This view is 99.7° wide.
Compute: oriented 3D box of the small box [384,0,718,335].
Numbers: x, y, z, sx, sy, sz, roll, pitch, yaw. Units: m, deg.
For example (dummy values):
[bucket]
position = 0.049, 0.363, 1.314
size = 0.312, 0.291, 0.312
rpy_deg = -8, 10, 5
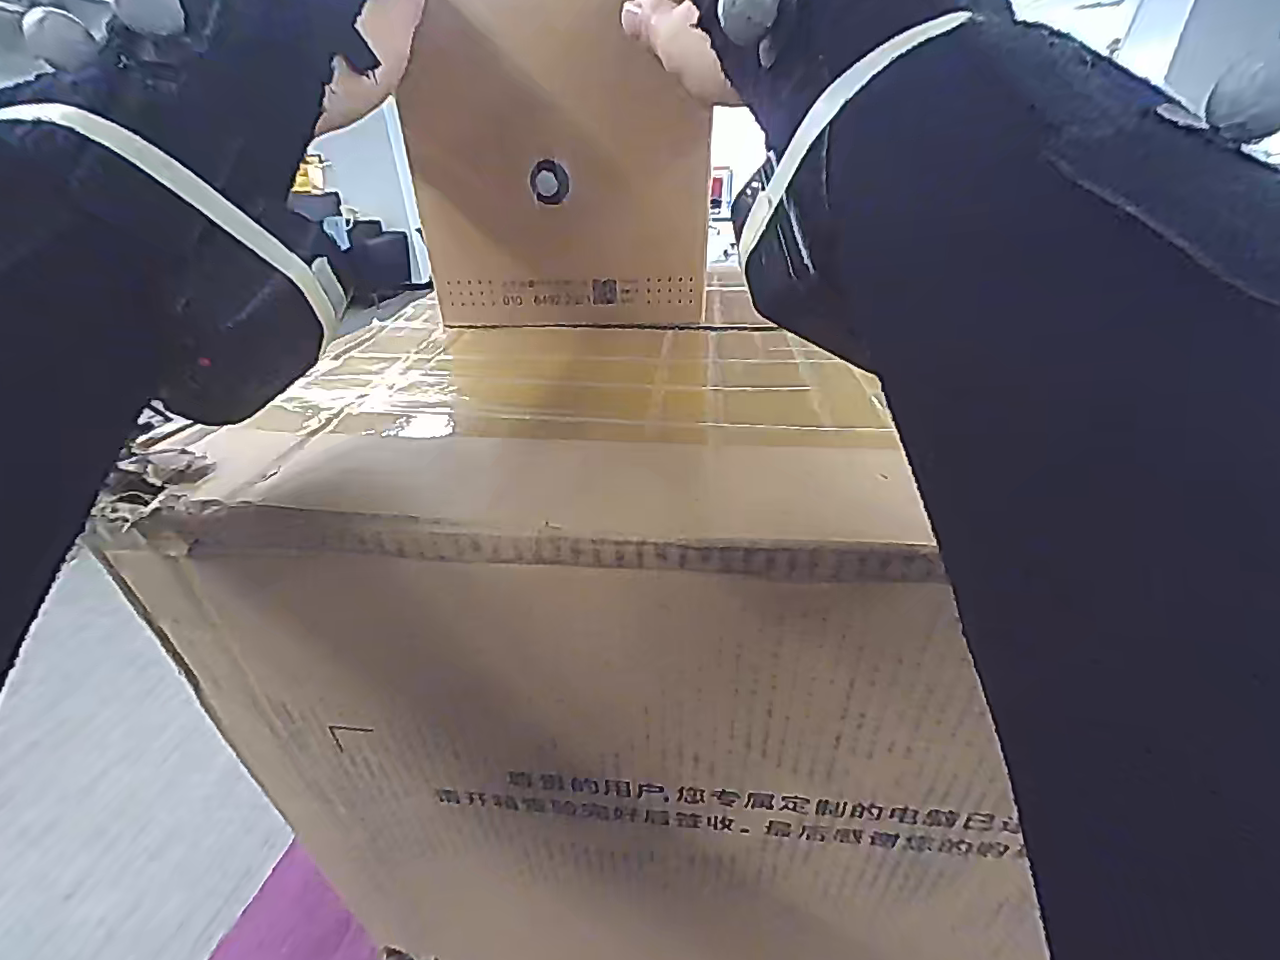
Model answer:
[small box]
position = -0.038, -0.204, 0.367
size = 0.168, 0.176, 0.179
rpy_deg = 1, 33, 1
